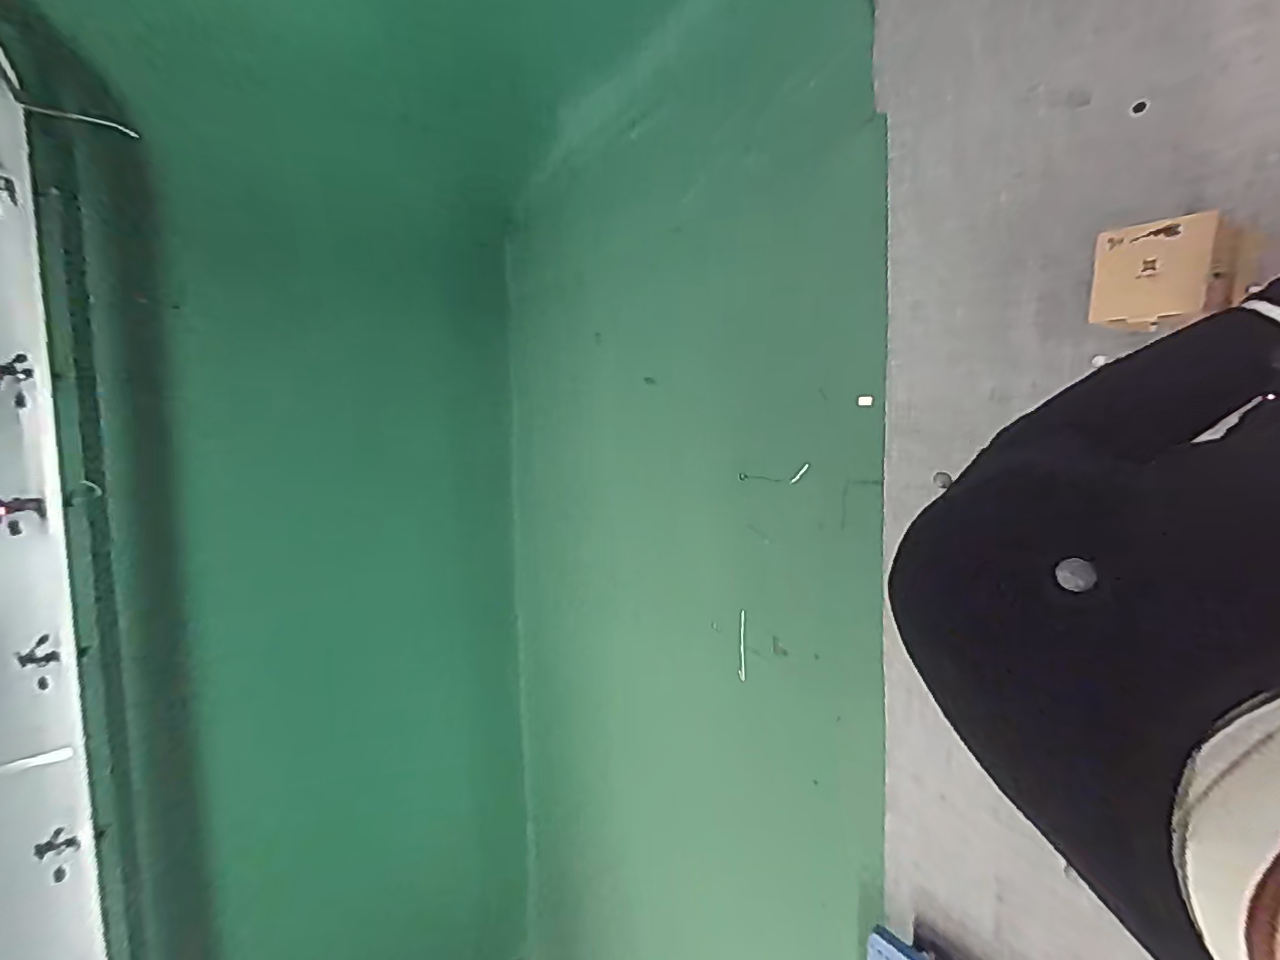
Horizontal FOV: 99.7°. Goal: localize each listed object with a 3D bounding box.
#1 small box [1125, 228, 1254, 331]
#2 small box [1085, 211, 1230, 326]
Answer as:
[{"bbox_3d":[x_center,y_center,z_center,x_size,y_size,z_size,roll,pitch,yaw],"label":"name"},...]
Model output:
[{"bbox_3d":[1.140,-0.411,1.140,0.179,0.176,0.168,13,105,53],"label":"small box"},{"bbox_3d":[1.003,-0.397,1.050,0.168,0.176,0.179,12,105,53],"label":"small box"}]
